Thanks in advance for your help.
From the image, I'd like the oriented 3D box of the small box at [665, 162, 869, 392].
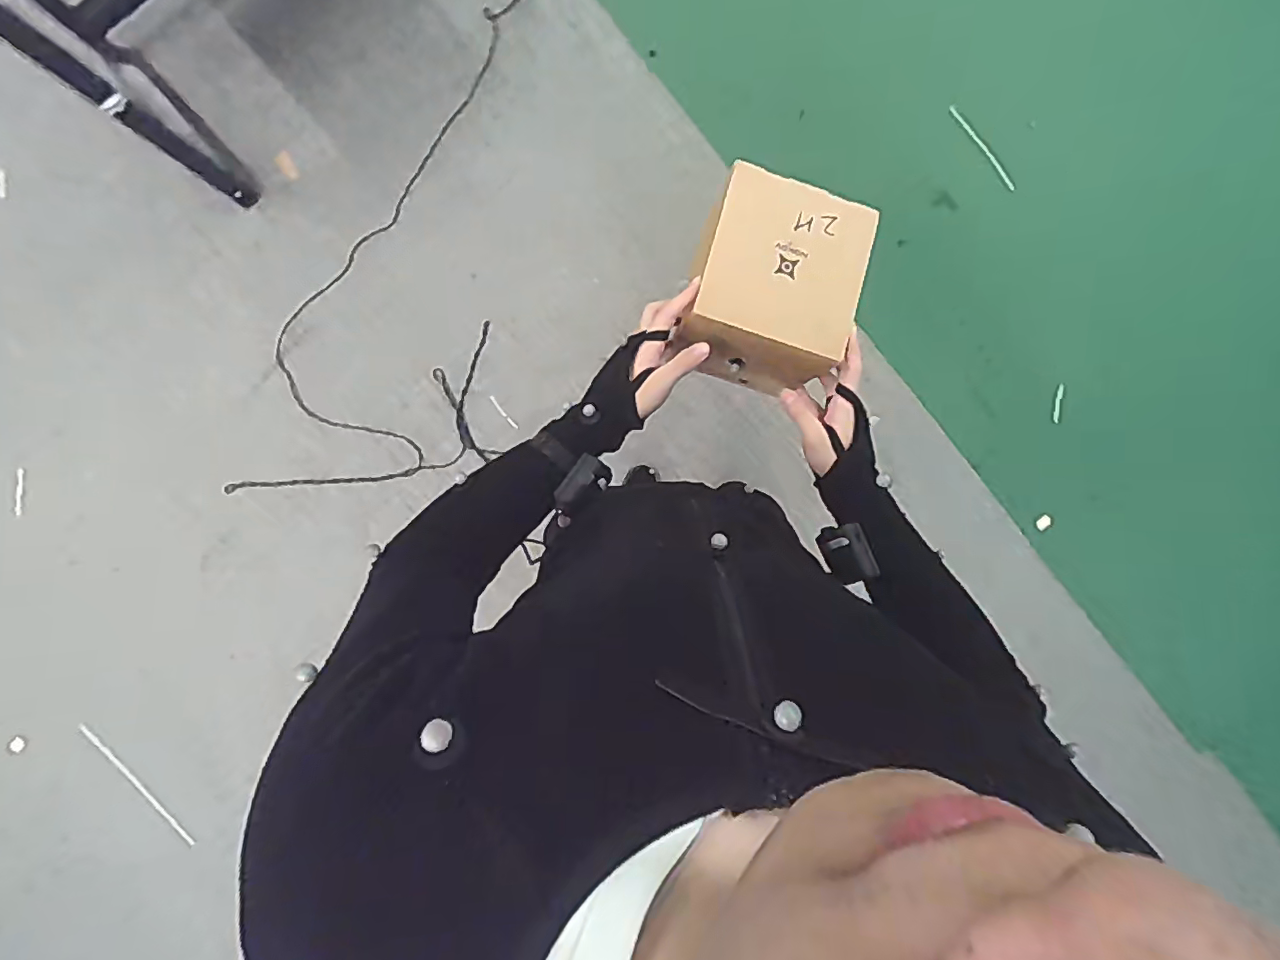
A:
[{"bbox_3d":[0.134,-0.220,0.637,0.168,0.176,0.179,17,83,-6],"label":"small box"}]
